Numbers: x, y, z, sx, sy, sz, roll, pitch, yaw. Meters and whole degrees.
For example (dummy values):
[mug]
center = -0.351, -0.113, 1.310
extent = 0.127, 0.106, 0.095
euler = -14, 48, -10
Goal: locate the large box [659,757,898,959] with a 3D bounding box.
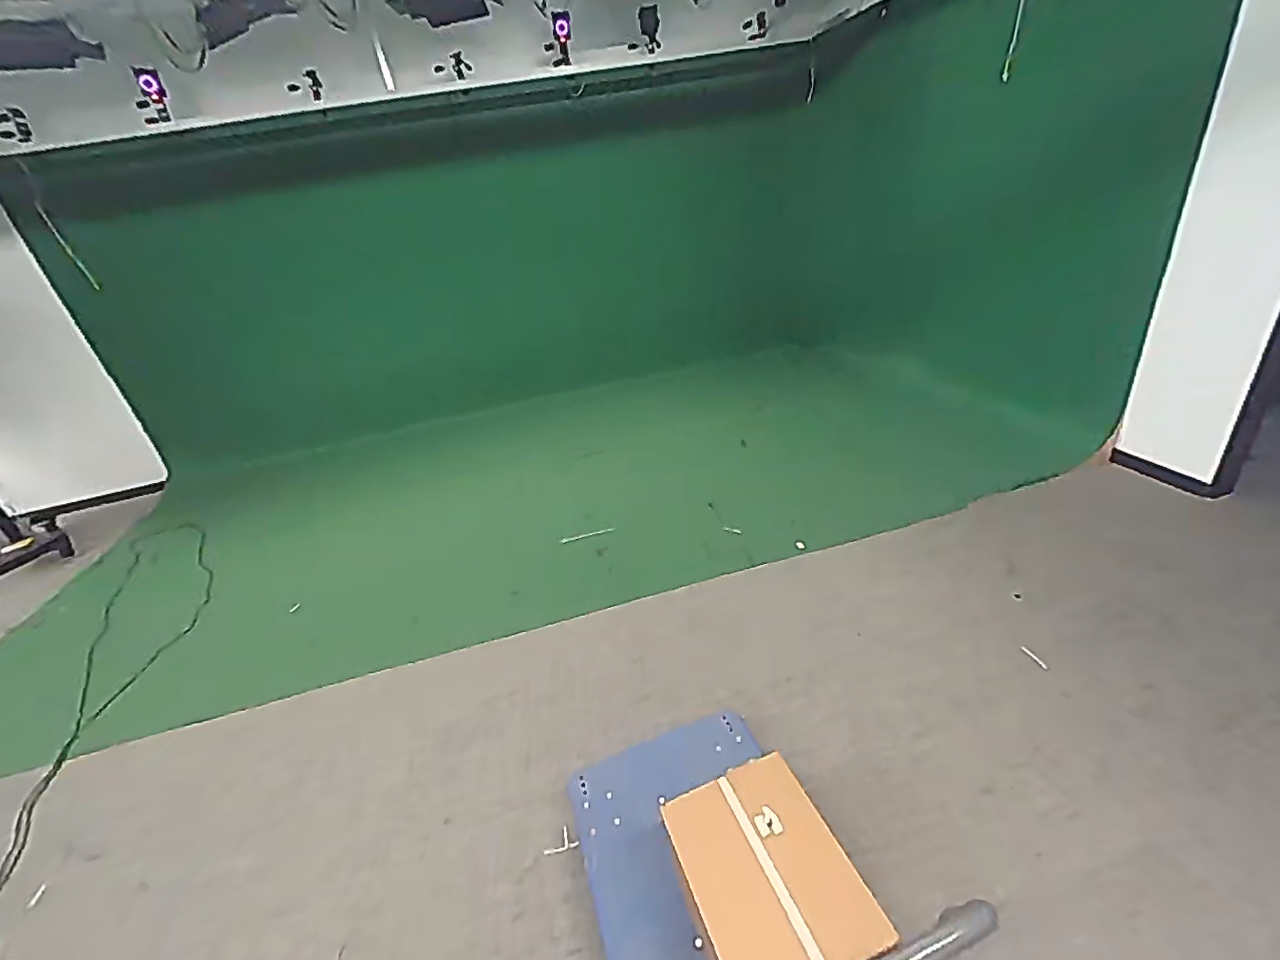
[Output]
[large box]
center = 0.275, 0.909, 1.153
extent = 0.320, 0.320, 0.408
euler = -16, 28, -14
